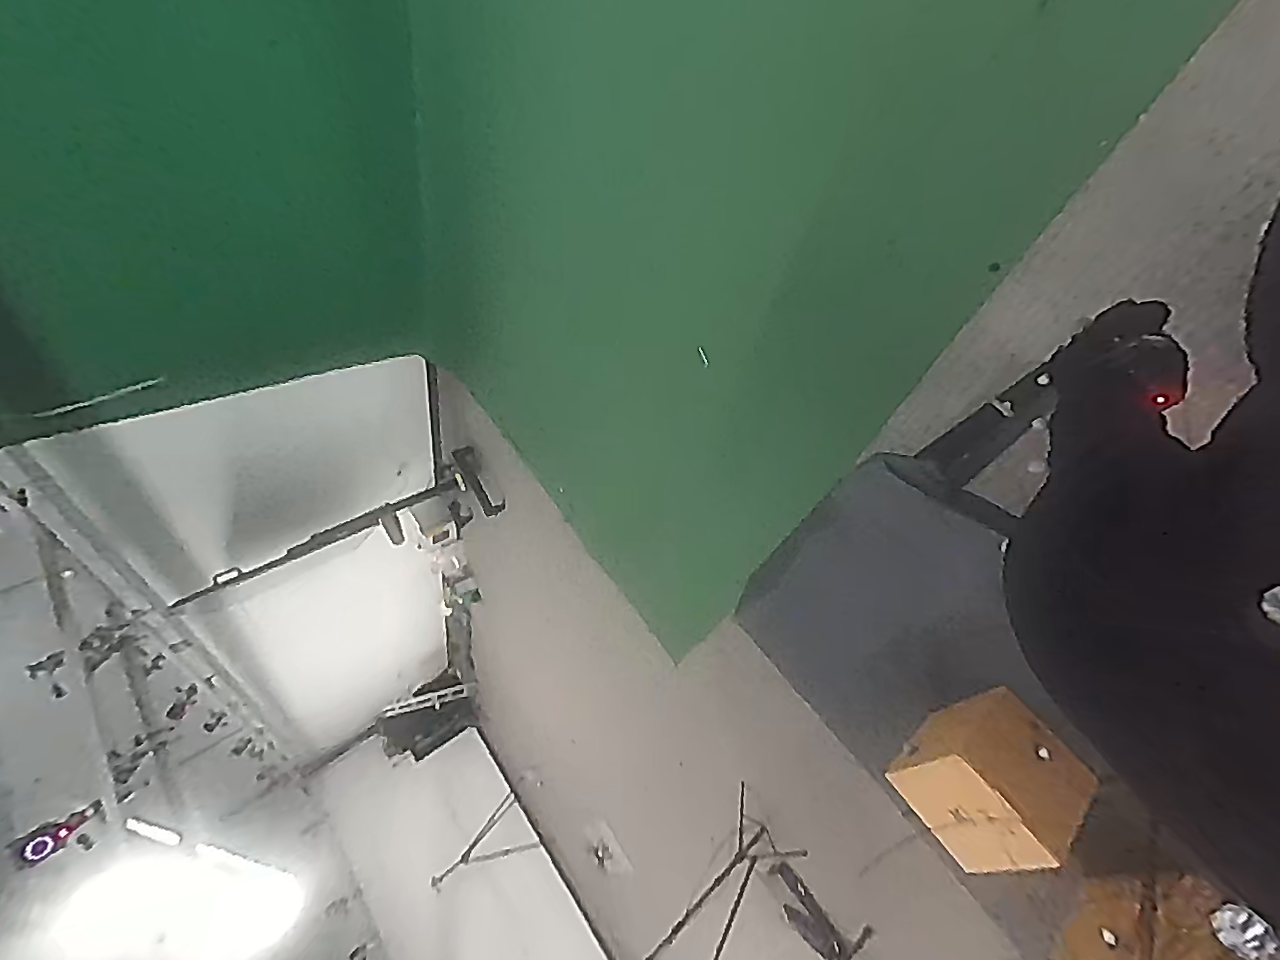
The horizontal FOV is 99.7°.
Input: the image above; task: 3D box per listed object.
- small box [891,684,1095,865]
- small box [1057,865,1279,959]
[{"bbox_3d":[0.538,0.448,0.829,0.168,0.176,0.179,49,144,20],"label":"small box"},{"bbox_3d":[0.723,0.654,0.721,0.168,0.176,0.179,49,144,21],"label":"small box"}]
